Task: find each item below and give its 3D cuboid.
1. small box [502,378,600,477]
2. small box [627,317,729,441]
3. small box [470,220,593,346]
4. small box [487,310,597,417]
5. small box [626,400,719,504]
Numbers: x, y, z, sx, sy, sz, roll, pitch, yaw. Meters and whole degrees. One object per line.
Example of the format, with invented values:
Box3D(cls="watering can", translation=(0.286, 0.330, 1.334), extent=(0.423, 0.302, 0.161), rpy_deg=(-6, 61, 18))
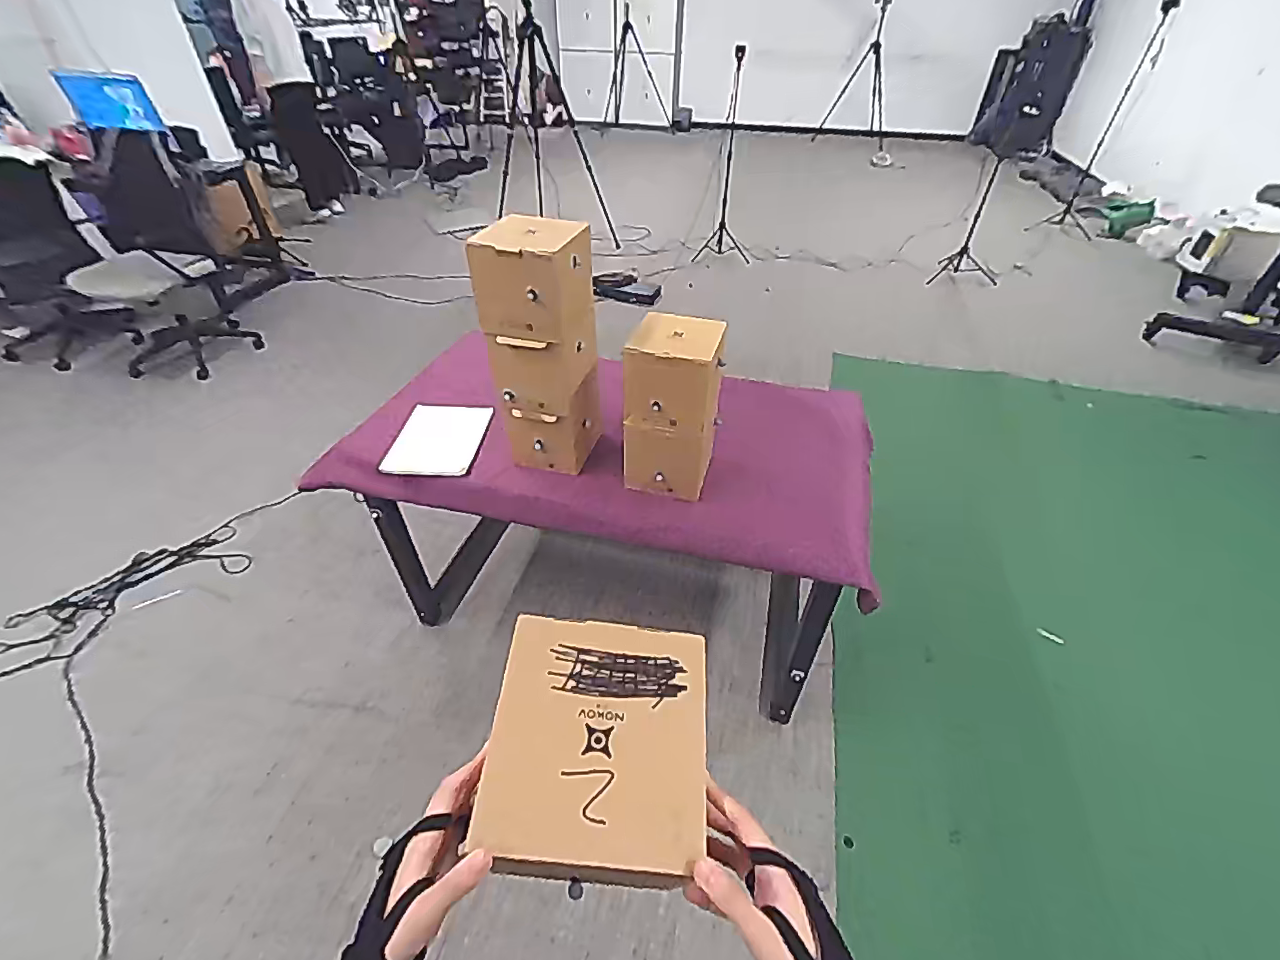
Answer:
Box3D(cls="small box", translation=(-0.193, -0.131, 1.243), extent=(0.168, 0.176, 0.179), rpy_deg=(12, 43, 11))
Box3D(cls="small box", translation=(0.072, -0.204, 1.082), extent=(0.168, 0.176, 0.179), rpy_deg=(12, 42, 12))
Box3D(cls="small box", translation=(-0.191, -0.371, 1.019), extent=(0.168, 0.176, 0.179), rpy_deg=(13, 42, 12))
Box3D(cls="small box", translation=(-0.192, -0.251, 1.130), extent=(0.168, 0.176, 0.179), rpy_deg=(12, 41, 12))
Box3D(cls="small box", translation=(0.070, -0.076, 1.183), extent=(0.168, 0.176, 0.179), rpy_deg=(11, 41, 12))
